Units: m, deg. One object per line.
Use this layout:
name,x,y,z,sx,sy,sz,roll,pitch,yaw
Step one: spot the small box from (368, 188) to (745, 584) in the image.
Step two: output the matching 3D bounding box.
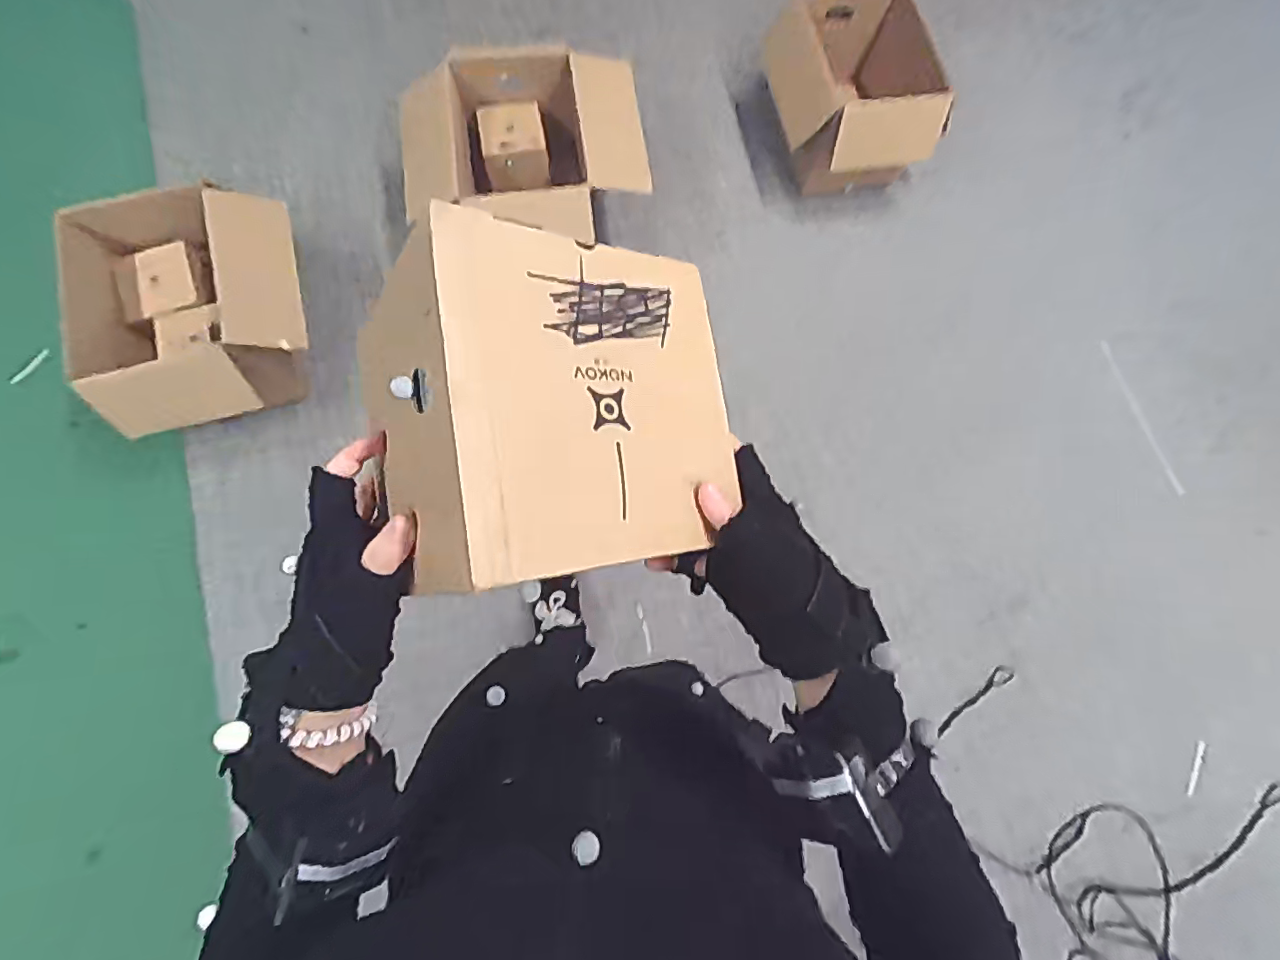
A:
small box,-0.063,-0.035,0.341,0.168,0.176,0.179,-4,82,-37
